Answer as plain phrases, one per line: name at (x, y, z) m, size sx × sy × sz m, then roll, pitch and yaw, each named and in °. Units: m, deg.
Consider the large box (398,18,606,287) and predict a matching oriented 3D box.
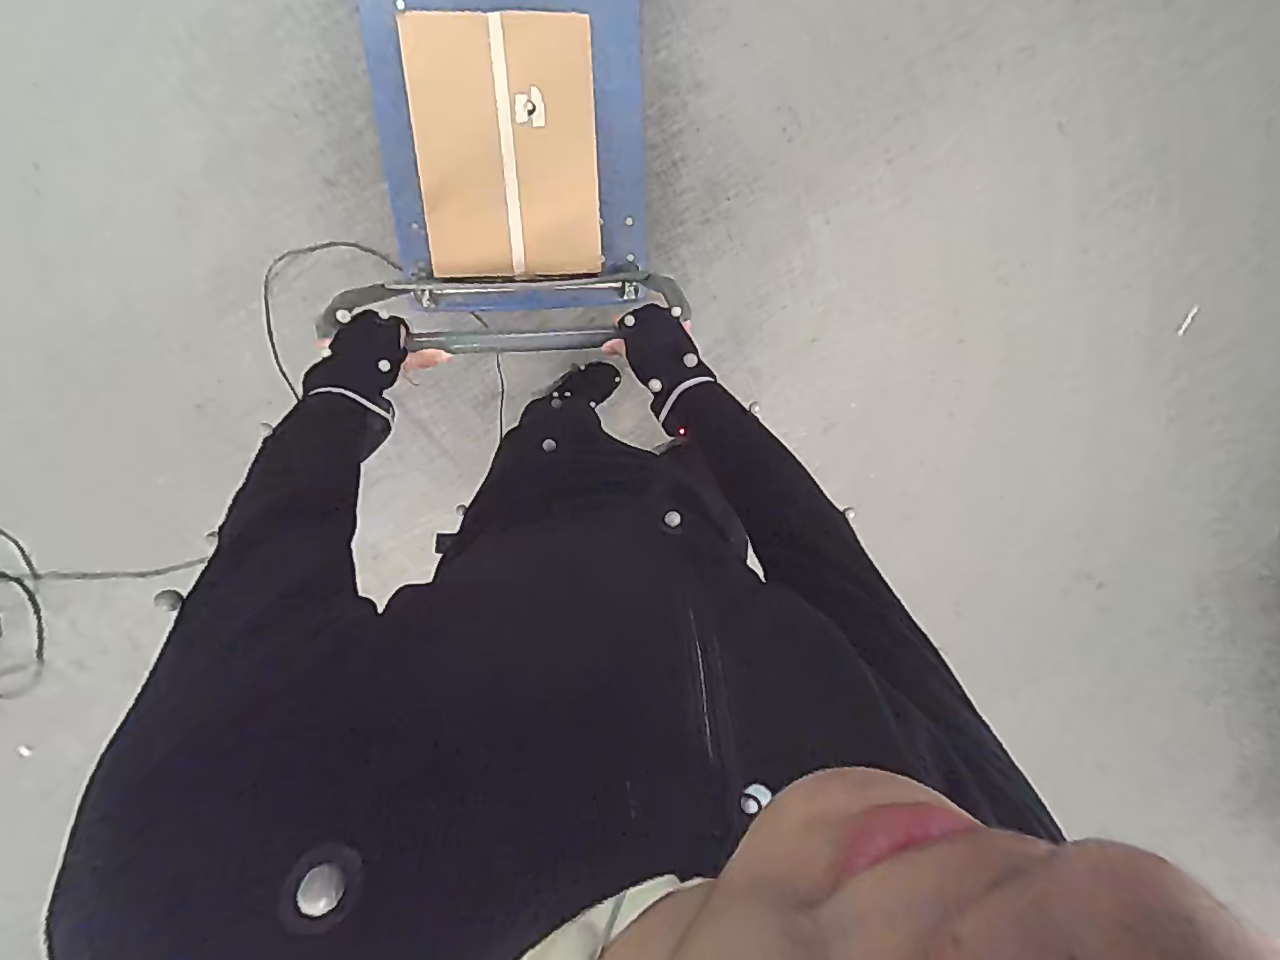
large box at (-0.245, -0.613, 1.090) m, size 0.320 × 0.320 × 0.408 m, roll -5°, pitch 109°, yaw -6°
